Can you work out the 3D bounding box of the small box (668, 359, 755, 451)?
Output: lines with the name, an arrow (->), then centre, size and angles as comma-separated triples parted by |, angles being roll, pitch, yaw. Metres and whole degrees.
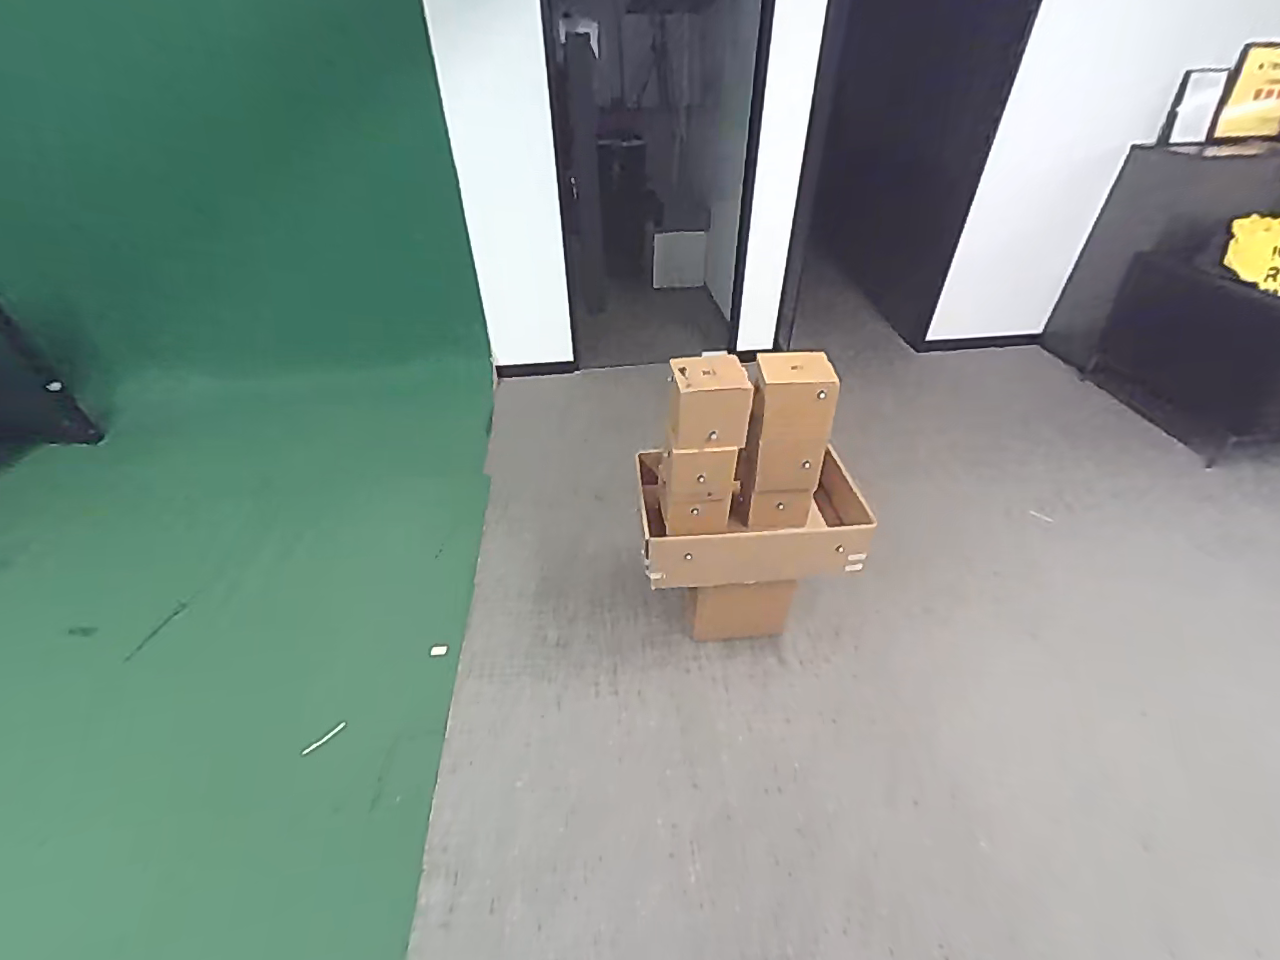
small box -> 0.170, -0.187, 1.352 | 0.179, 0.176, 0.168 | -4, 39, -5
